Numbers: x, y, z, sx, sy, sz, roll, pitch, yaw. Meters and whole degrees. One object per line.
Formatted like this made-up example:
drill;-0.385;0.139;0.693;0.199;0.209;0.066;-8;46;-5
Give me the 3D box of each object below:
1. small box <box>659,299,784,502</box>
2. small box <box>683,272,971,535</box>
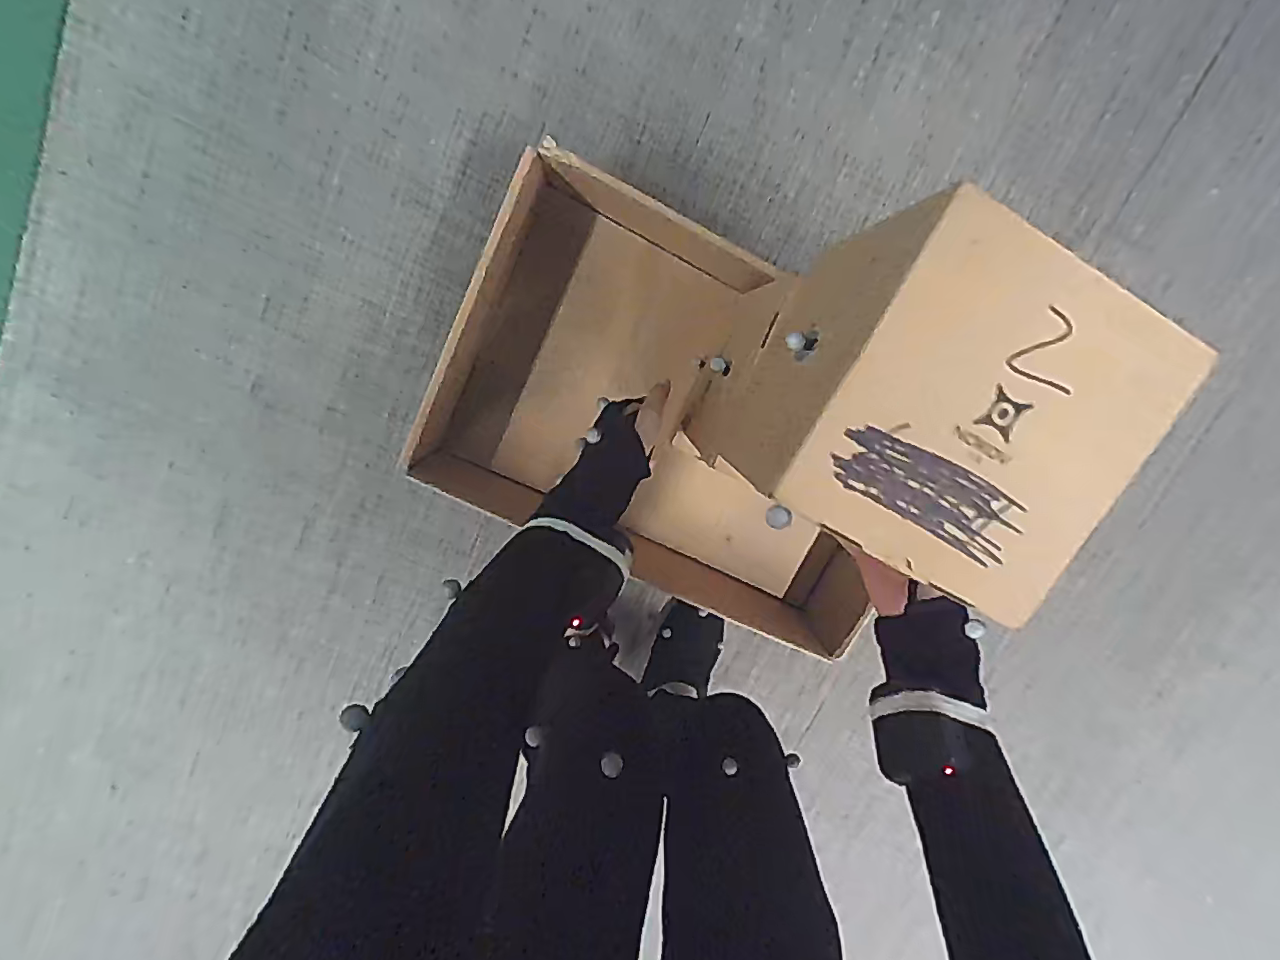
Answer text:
small box;0.130;-0.103;0.674;0.168;0.176;0.179;25;103;-7
small box;0.151;-0.074;0.512;0.179;0.176;0.168;21;103;-7
